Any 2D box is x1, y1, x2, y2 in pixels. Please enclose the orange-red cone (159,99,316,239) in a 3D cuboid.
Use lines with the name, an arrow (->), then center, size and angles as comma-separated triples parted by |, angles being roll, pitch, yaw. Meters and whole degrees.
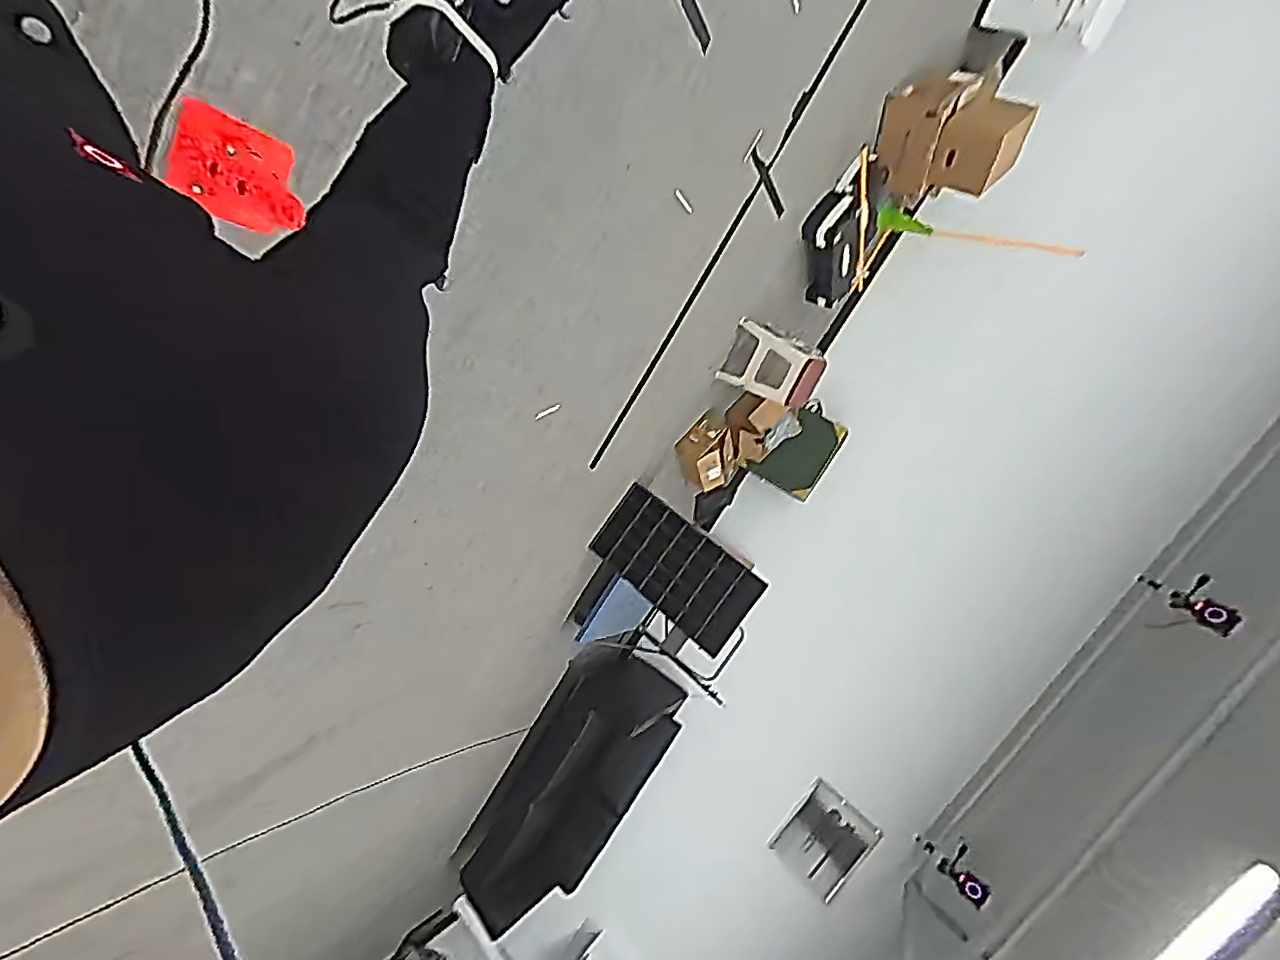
orange-red cone -> -0.721, -0.544, 1.038 | 0.199, 0.360, 0.198 | 2, 121, -61
